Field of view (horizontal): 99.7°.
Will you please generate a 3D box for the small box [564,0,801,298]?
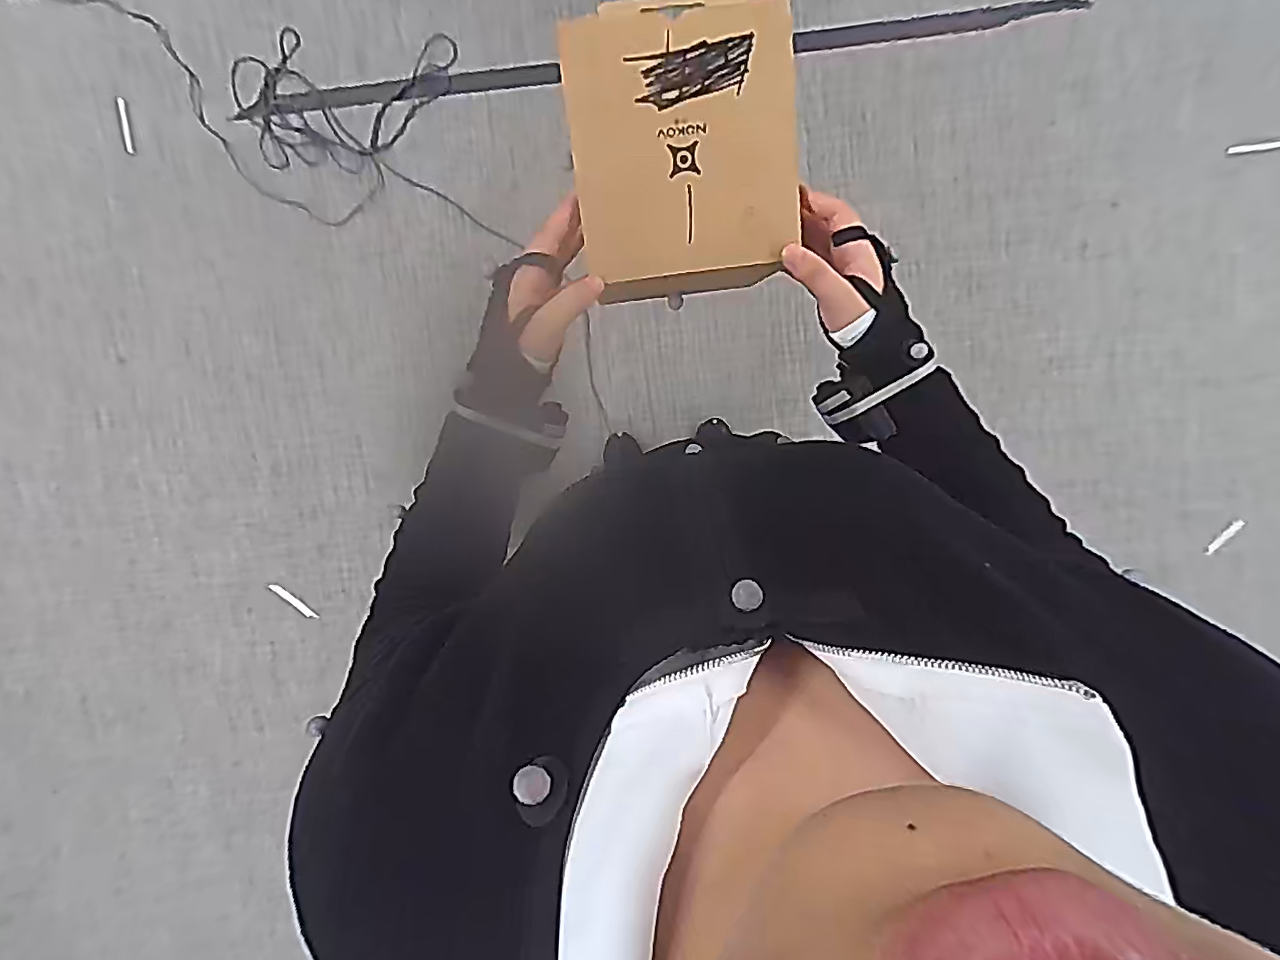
[{"bbox_3d":[0.032,-0.268,0.476,0.168,0.176,0.179,-7,103,0],"label":"small box"}]
